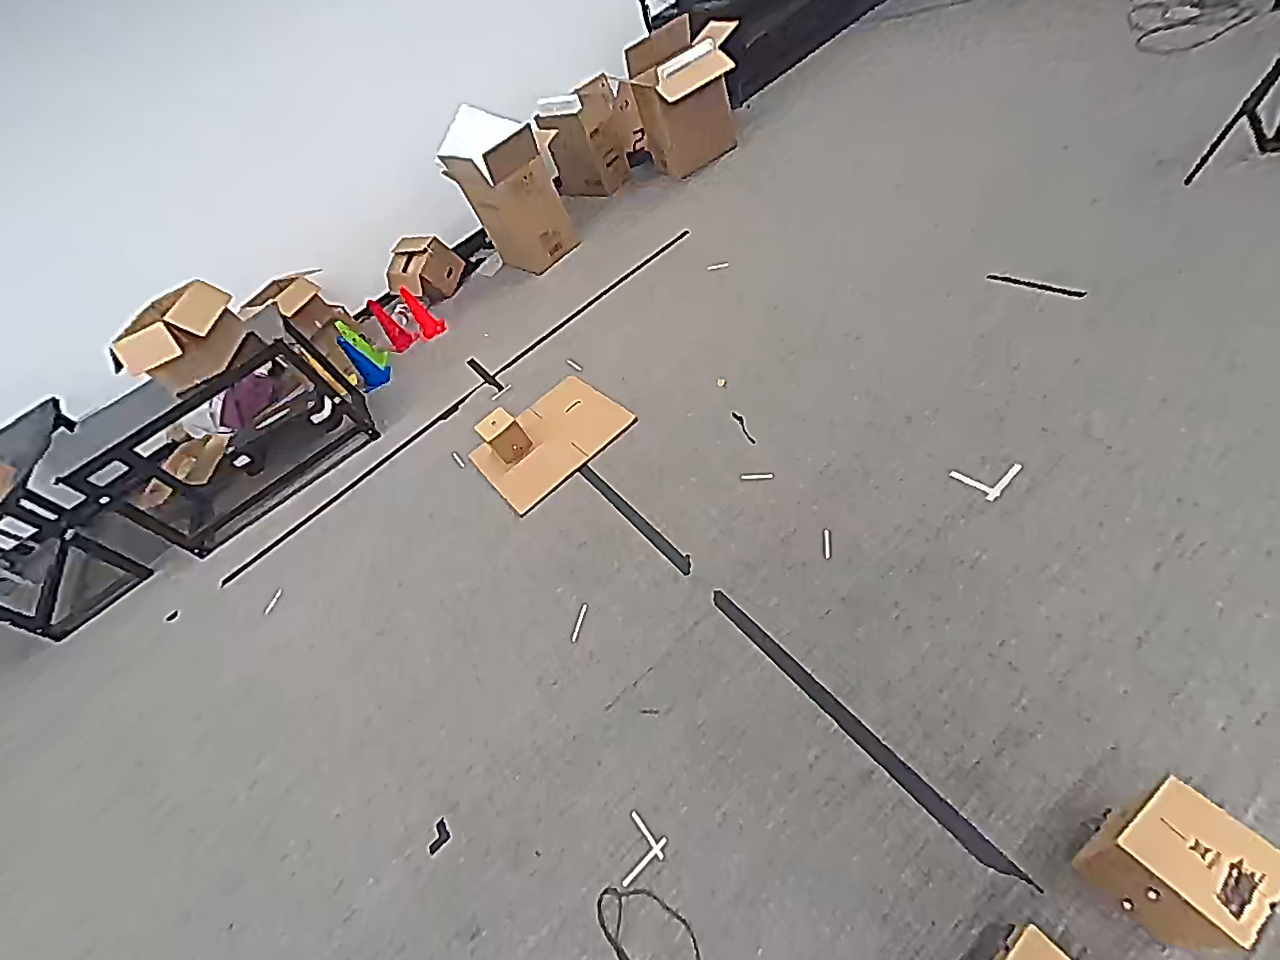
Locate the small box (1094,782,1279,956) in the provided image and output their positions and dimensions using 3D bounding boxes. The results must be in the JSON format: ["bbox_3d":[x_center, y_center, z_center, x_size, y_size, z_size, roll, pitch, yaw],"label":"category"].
[{"bbox_3d":[0.943,0.666,0.931,0.168,0.176,0.179,-39,46,-11],"label":"small box"}]

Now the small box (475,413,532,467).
[{"bbox_3d":[-0.661,-0.192,2.624,0.168,0.176,0.179,-42,47,-12],"label":"small box"}]

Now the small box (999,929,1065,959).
[{"bbox_3d":[0.747,0.975,0.988,0.168,0.176,0.179,-42,47,-13],"label":"small box"}]
